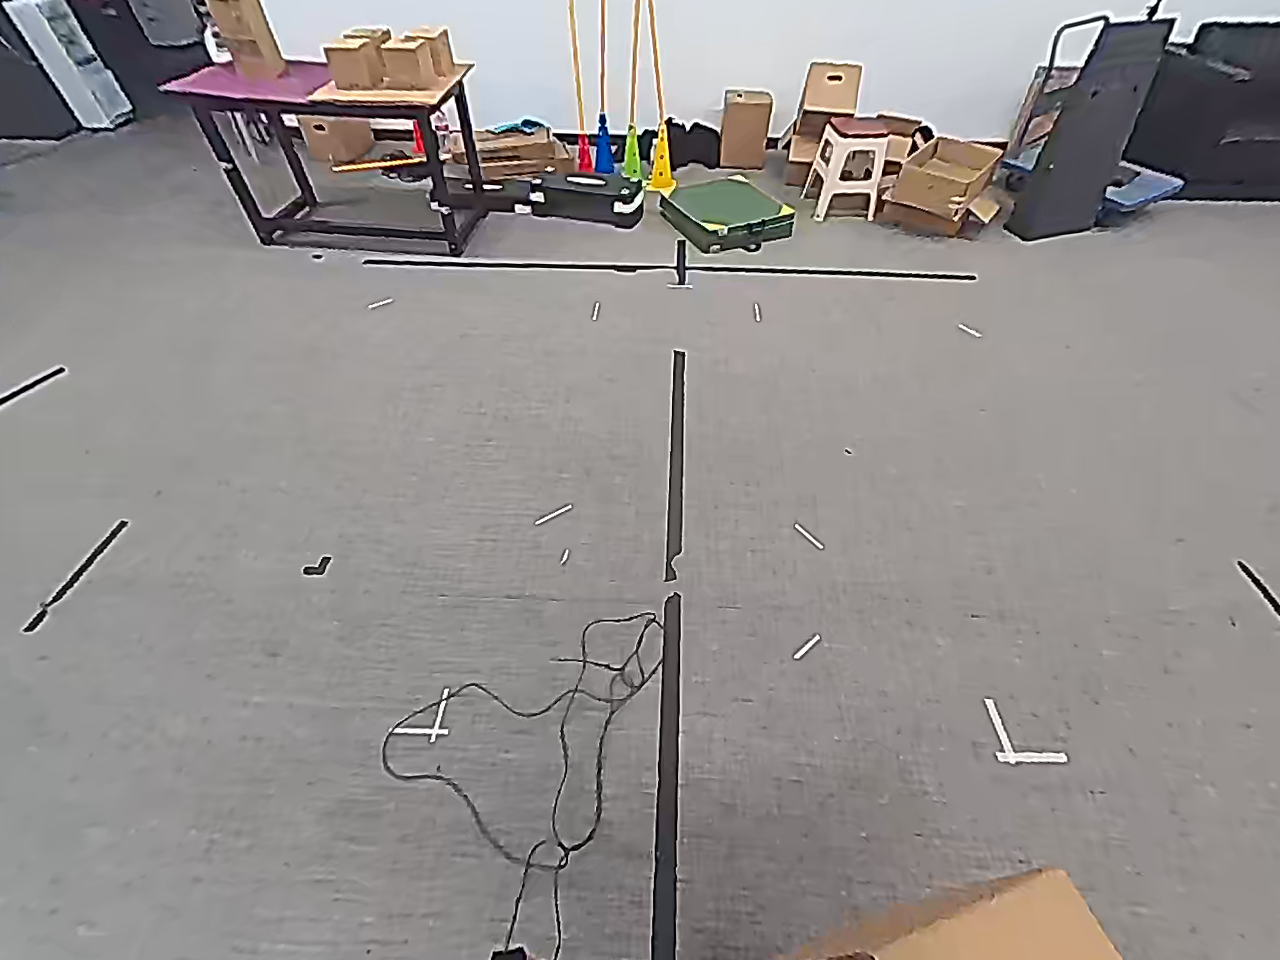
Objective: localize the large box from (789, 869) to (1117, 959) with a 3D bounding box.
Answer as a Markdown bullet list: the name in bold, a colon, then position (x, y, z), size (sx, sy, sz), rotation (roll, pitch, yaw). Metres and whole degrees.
- **large box**: position (0.388, 0.743, 0.667), size (0.320, 0.408, 0.320), rotation (-2, 46, -19)
